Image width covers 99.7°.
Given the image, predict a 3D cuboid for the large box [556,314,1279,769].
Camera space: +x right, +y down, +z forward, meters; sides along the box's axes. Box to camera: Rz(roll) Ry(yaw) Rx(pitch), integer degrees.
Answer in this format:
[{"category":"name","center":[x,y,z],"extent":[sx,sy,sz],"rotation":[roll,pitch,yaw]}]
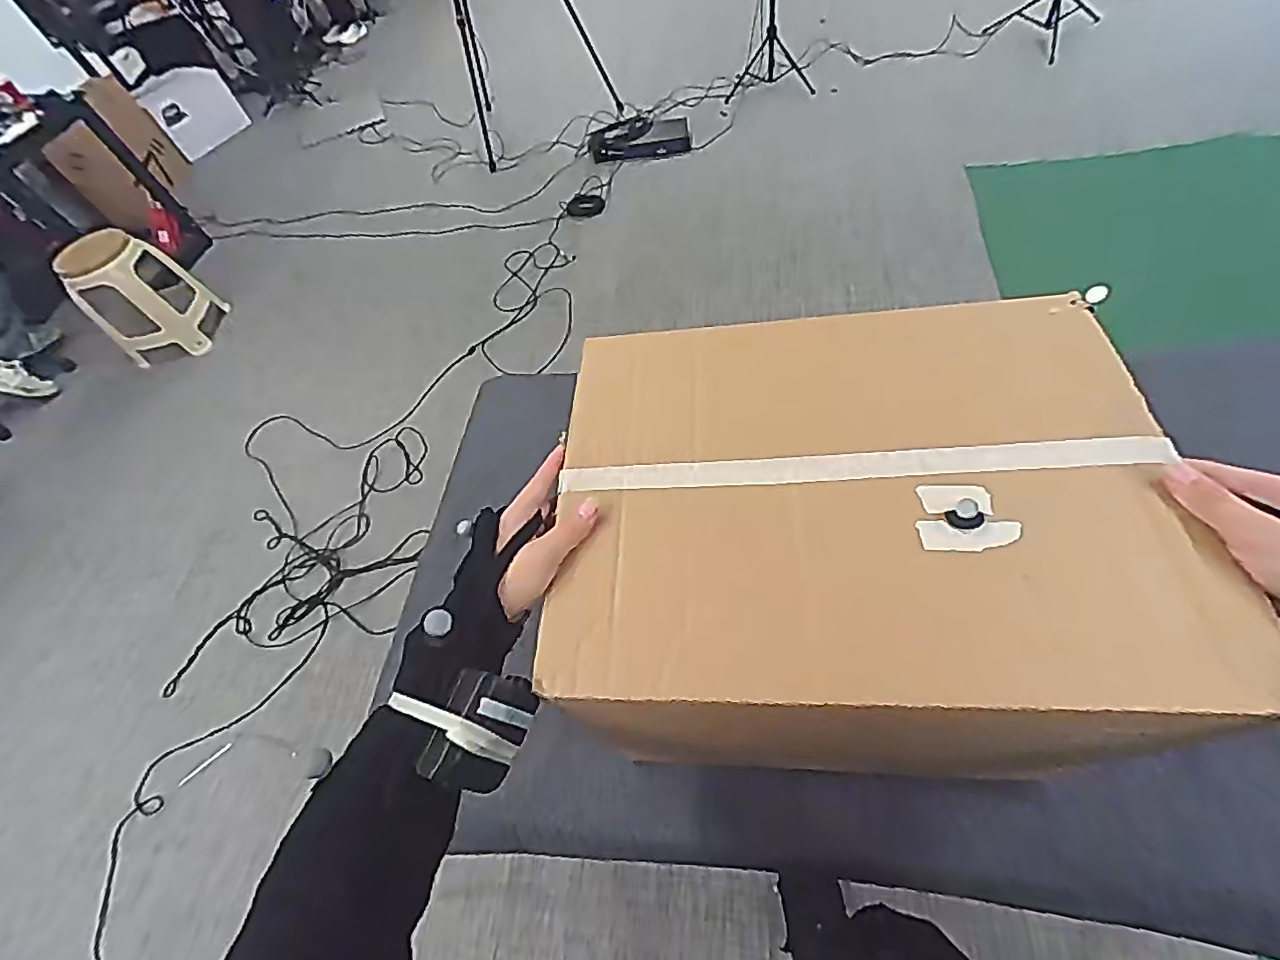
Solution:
[{"category":"large box","center":[0.166,0.082,0.512],"extent":[0.408,0.320,0.320],"rotation":[-3,57,9]}]
